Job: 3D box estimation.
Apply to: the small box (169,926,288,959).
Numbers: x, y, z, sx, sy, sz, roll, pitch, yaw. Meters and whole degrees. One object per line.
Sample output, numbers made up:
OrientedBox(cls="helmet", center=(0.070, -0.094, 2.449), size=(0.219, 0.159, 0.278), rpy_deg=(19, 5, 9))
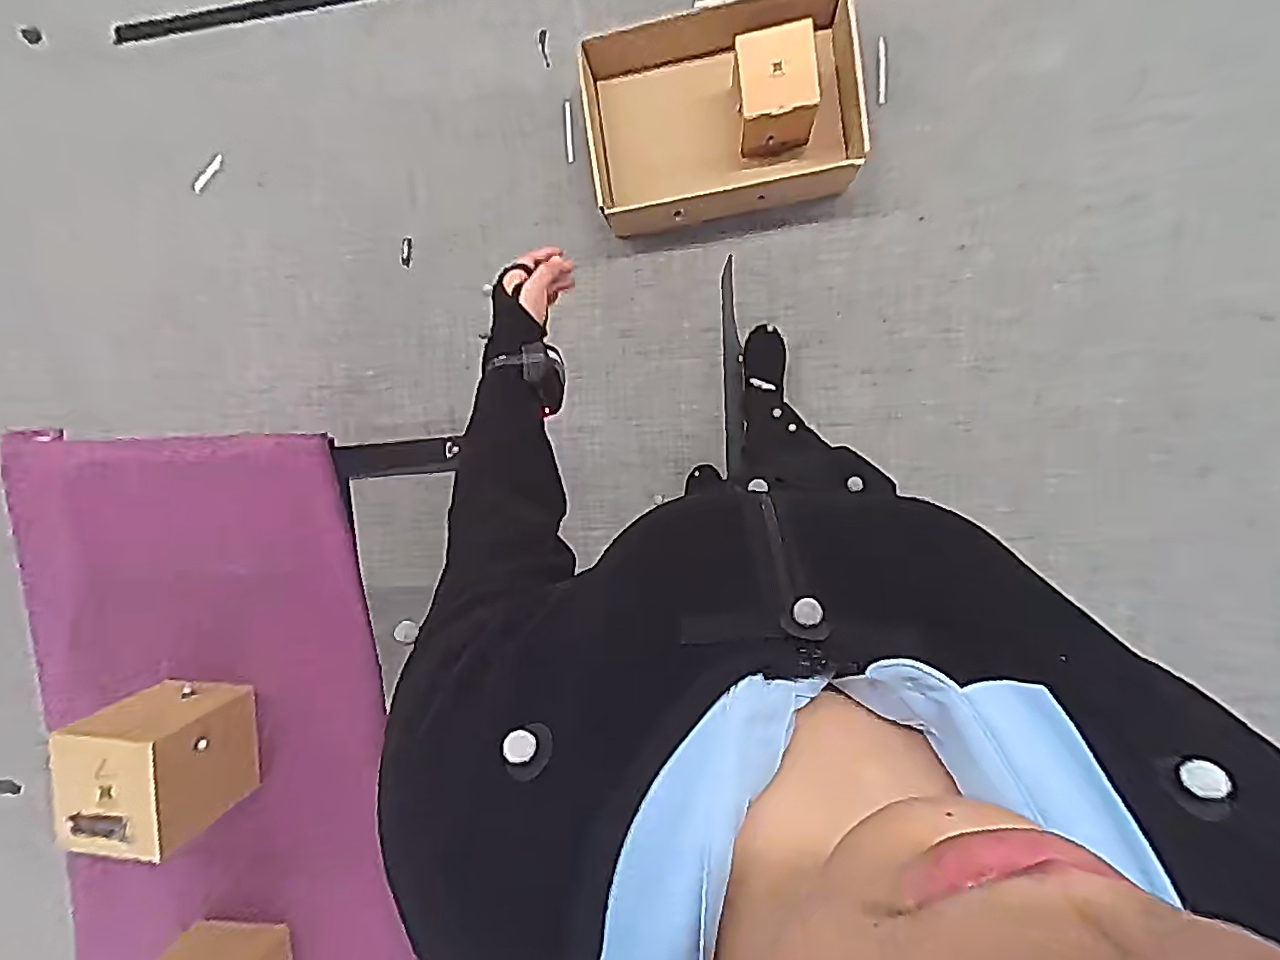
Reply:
OrientedBox(cls="small box", center=(-0.686, 0.854, 0.854), size=(0.179, 0.176, 0.168), rpy_deg=(-3, 94, 7))

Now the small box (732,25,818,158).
OrientedBox(cls="small box", center=(0.307, -0.891, 1.257), size=(0.168, 0.176, 0.179), rpy_deg=(-7, 94, 8))
